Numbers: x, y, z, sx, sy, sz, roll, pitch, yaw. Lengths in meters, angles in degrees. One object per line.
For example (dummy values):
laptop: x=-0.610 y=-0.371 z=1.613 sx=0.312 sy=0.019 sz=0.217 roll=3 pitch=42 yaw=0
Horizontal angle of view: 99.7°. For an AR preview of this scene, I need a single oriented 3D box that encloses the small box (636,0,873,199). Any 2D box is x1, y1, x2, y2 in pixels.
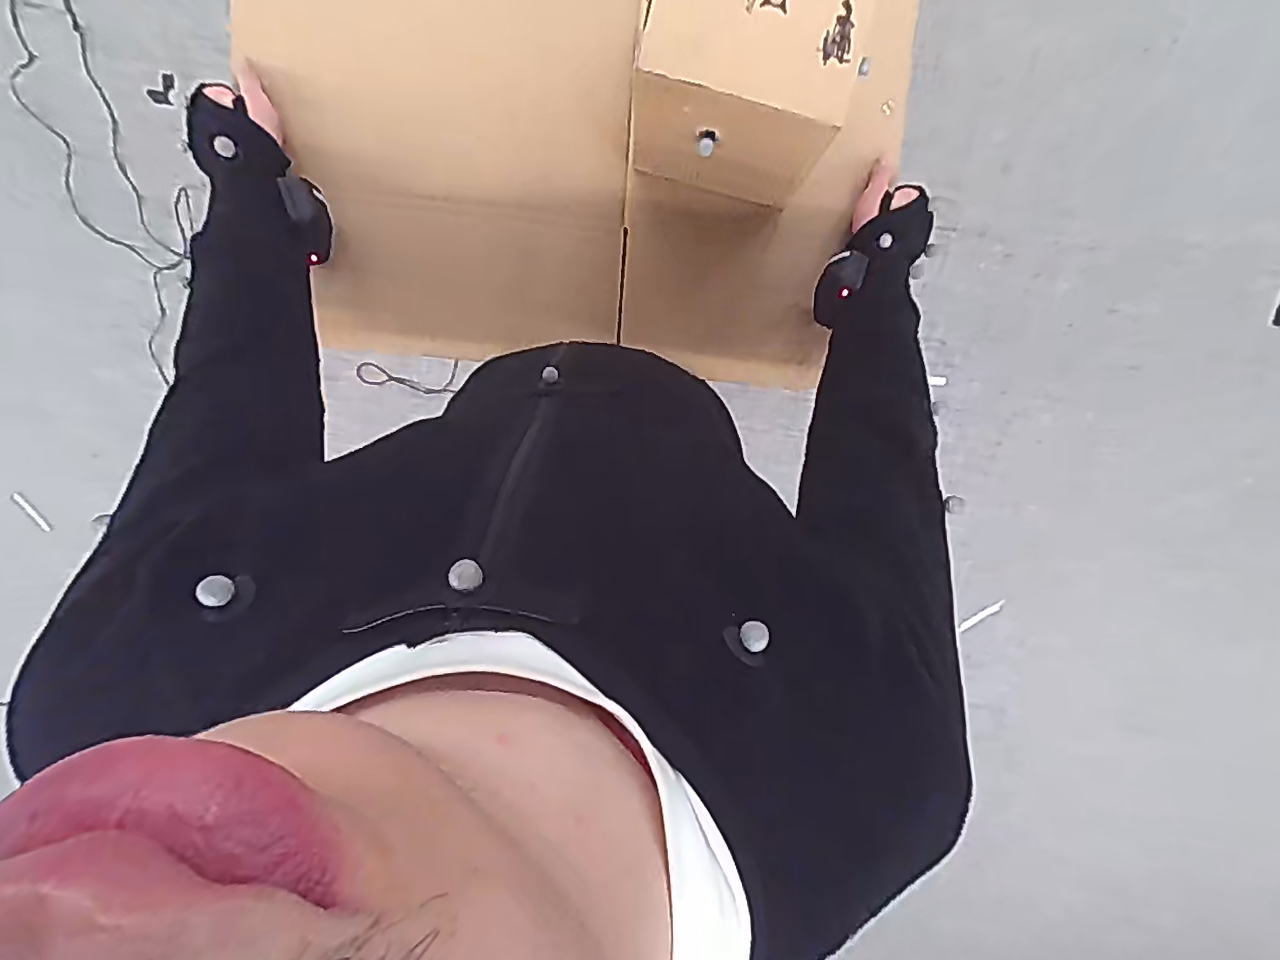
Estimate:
small box: x=0.099 y=-0.395 z=0.511 sx=0.179 sy=0.176 sz=0.168 roll=14 pitch=96 yaw=-2
